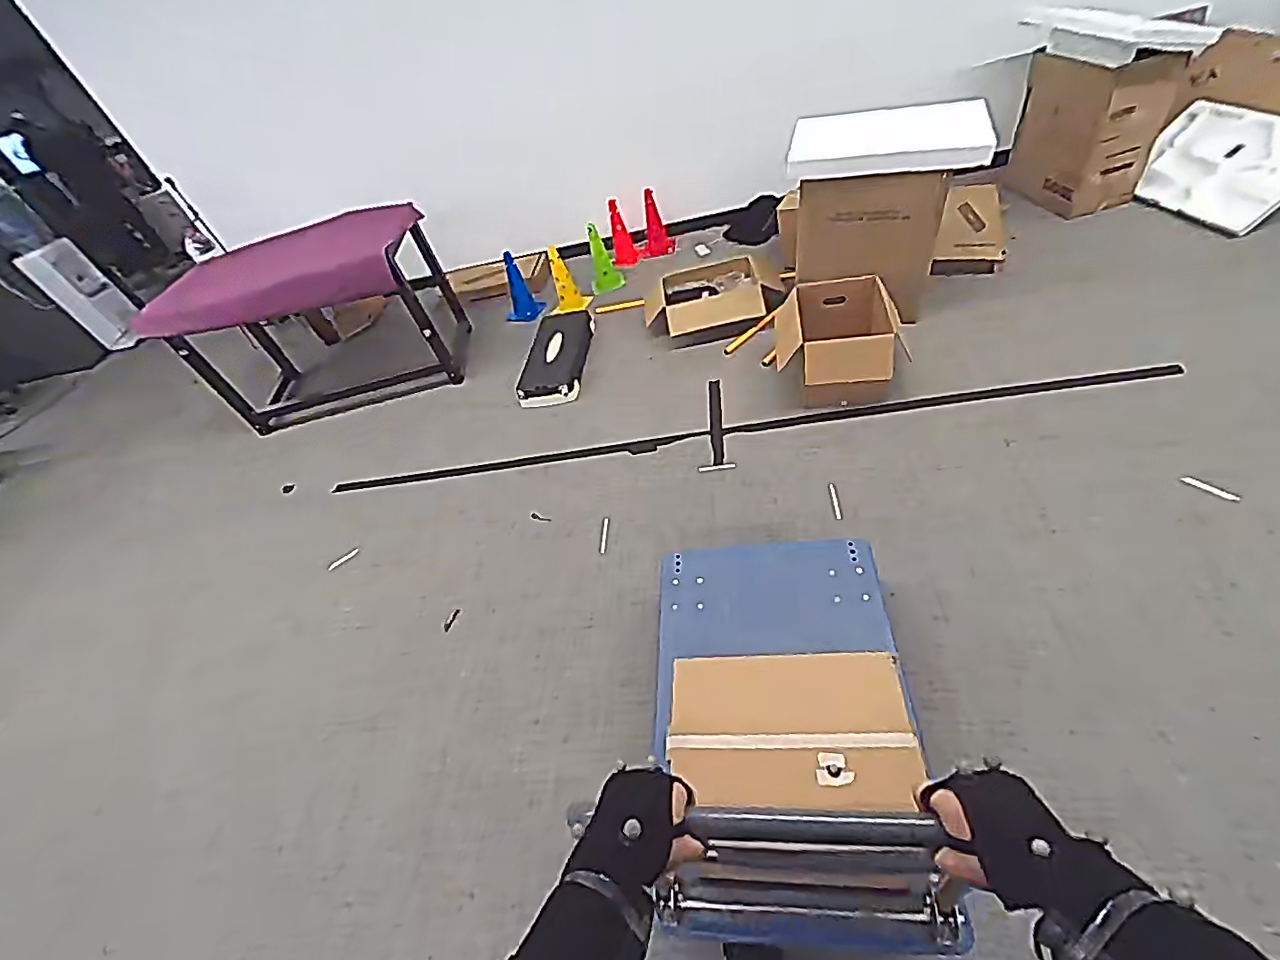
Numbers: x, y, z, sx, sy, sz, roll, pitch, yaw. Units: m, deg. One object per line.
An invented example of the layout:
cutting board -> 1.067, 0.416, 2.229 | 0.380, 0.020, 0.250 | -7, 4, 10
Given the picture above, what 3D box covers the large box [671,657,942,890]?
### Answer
large box -> 0.279, 0.552, 1.016 | 0.408, 0.320, 0.320 | -5, 46, 11
